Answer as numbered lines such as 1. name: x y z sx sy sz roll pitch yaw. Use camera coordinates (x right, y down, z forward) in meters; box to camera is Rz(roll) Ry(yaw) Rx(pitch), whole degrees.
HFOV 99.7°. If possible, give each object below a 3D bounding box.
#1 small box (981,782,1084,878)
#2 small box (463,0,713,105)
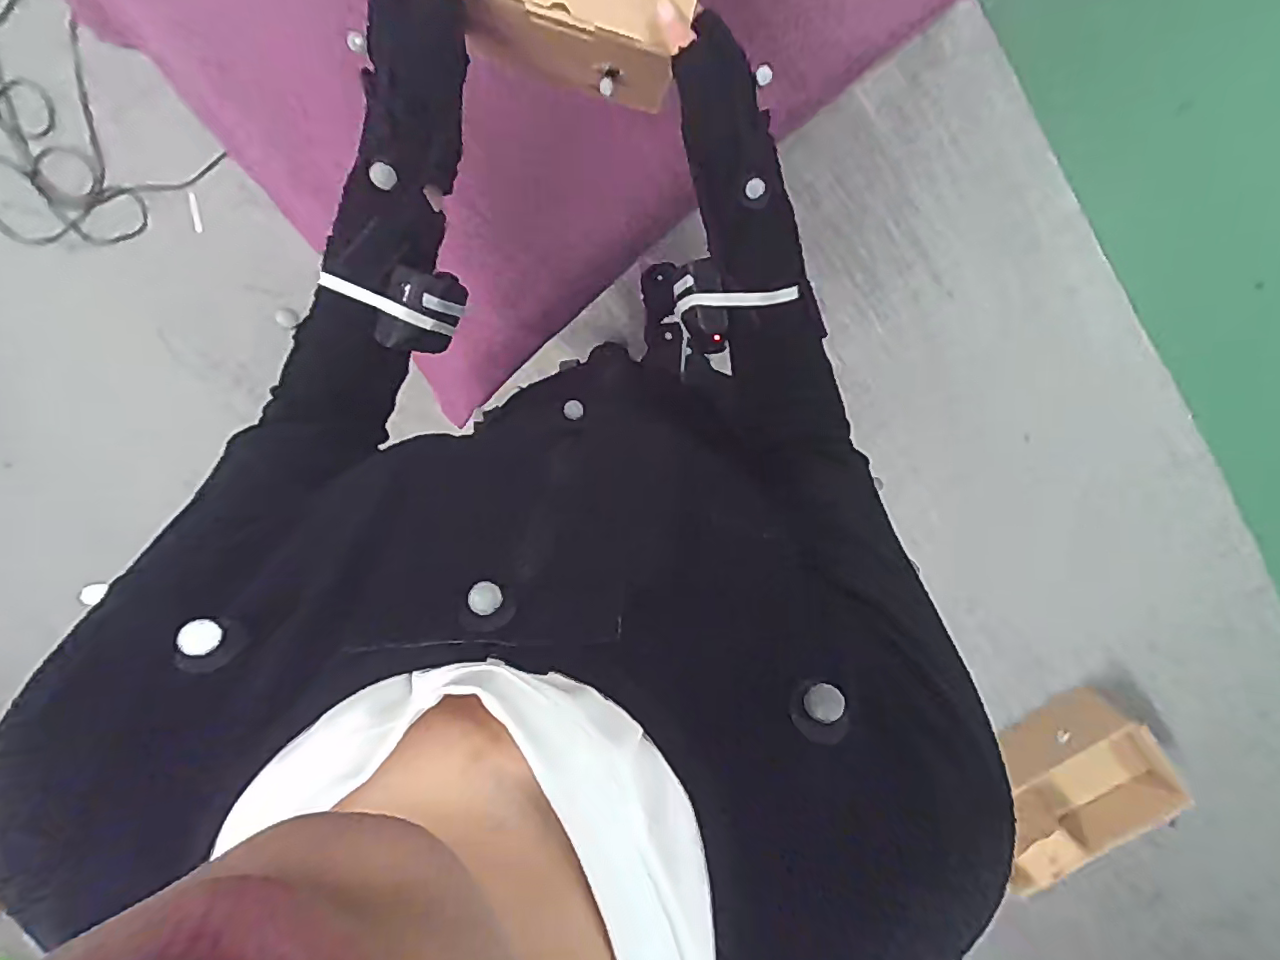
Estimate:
1. small box: 1.253 1.116 1.741 0.168 0.176 0.179 -44 104 10
2. small box: -0.024 -0.387 0.363 0.168 0.176 0.179 12 112 -11
